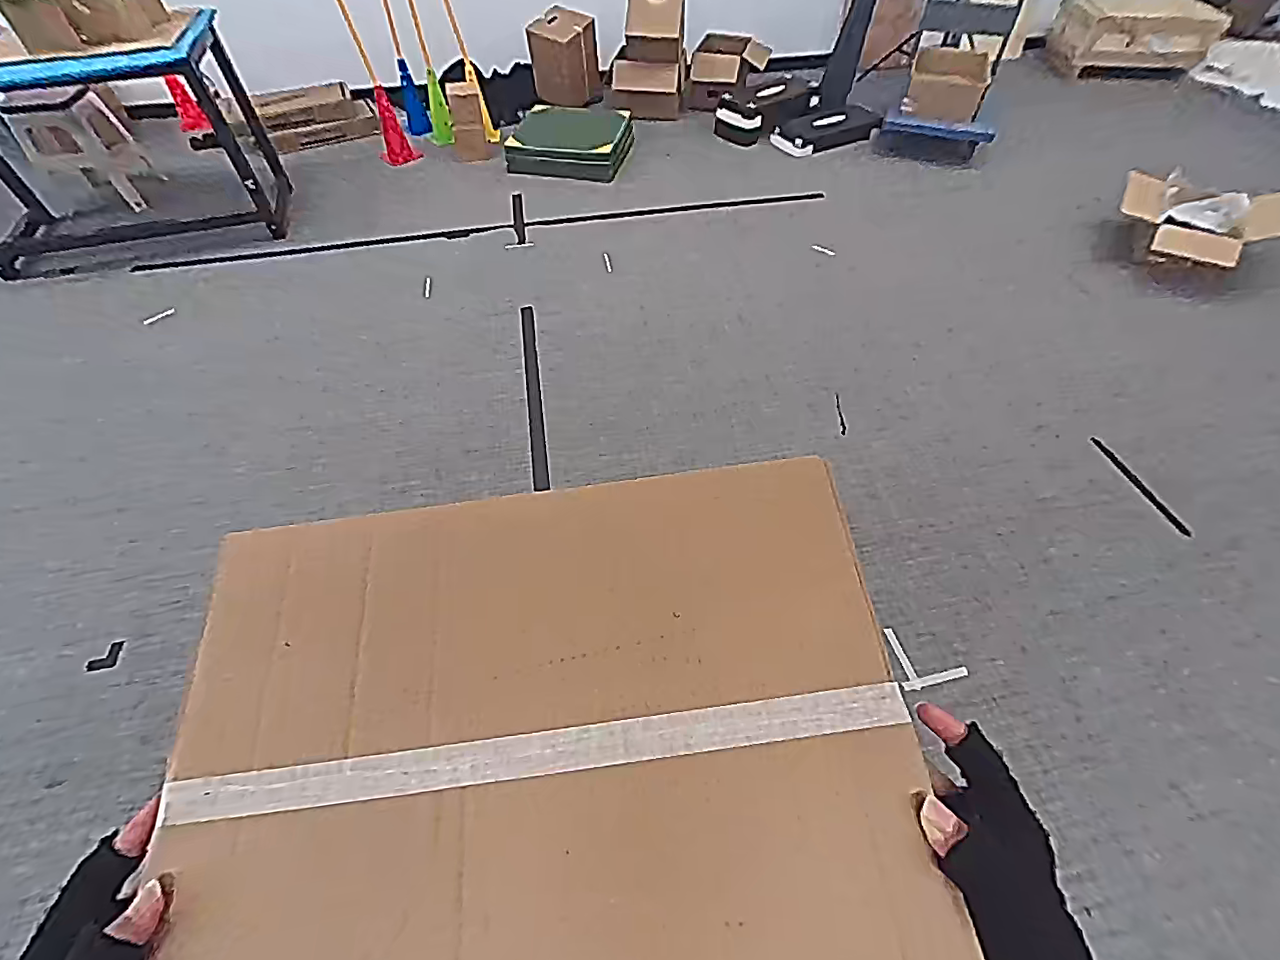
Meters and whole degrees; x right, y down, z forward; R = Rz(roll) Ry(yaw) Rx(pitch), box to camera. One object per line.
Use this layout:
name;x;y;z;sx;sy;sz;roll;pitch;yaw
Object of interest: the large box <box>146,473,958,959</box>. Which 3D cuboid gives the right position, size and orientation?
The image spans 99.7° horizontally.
large box;-0.050;0.221;0.437;0.408;0.320;0.320;-7;63;0
